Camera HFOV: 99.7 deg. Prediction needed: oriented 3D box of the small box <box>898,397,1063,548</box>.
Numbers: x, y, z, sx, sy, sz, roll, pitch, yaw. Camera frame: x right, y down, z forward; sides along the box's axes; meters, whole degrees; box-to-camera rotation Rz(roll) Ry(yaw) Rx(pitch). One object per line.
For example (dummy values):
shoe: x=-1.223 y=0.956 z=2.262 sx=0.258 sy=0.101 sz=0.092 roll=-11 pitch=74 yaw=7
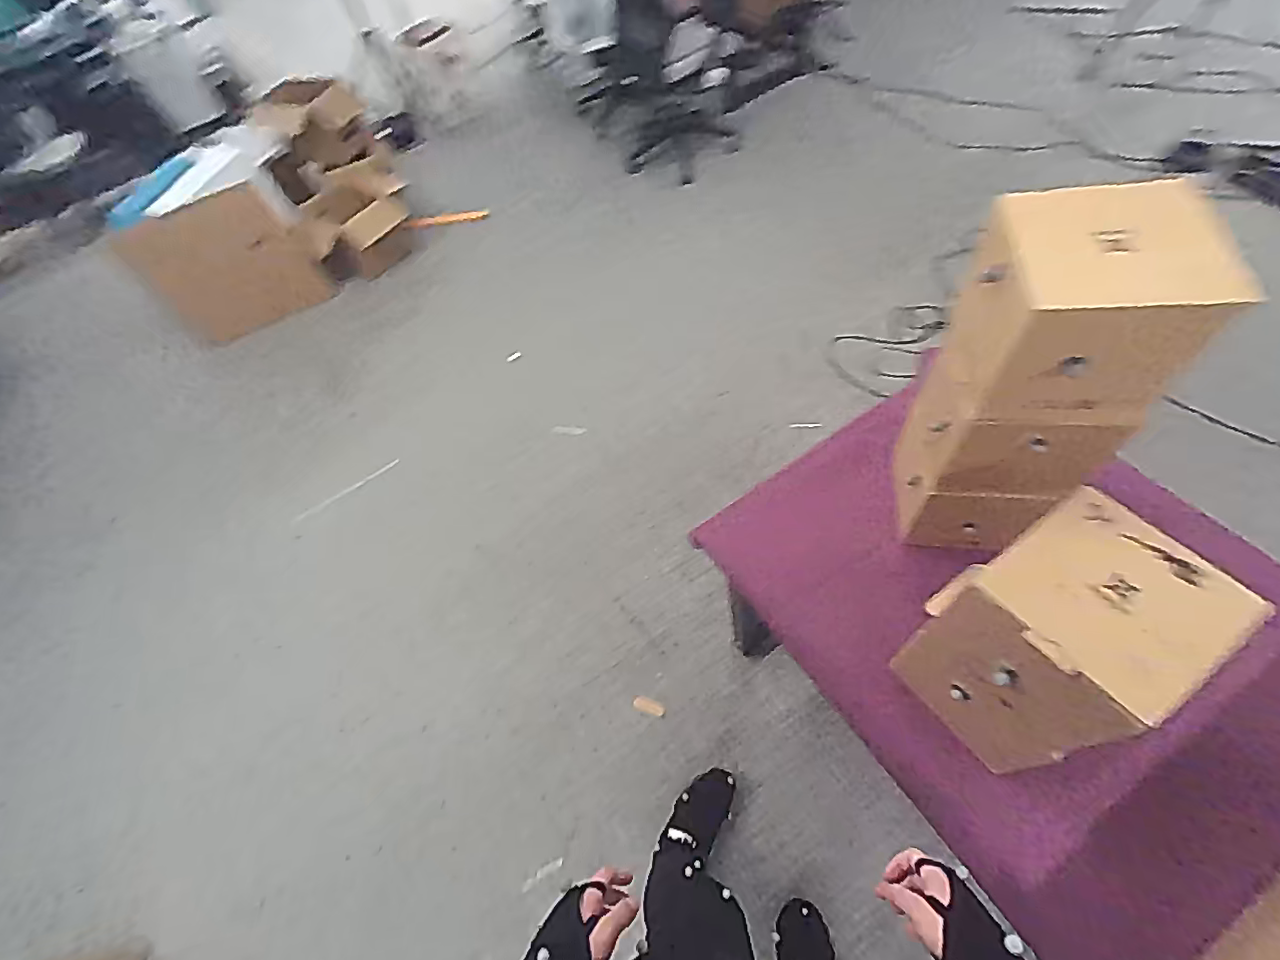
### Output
small box: x=0.512 y=-0.008 z=0.843 sx=0.168 sy=0.176 sz=0.179 roll=4 pitch=60 yaw=13

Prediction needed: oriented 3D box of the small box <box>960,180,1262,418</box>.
small box: x=0.463 y=-0.180 z=0.572 sx=0.168 sy=0.176 sz=0.179 roll=2 pitch=60 yaw=13

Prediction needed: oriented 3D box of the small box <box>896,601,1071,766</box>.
small box: x=0.467 y=0.237 z=0.696 sx=0.168 sy=0.176 sz=0.179 roll=-34 pitch=58 yaw=-11

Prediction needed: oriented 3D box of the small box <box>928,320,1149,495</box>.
small box: x=0.491 y=-0.092 z=0.705 sx=0.179 sy=0.176 sz=0.168 roll=4 pitch=61 yaw=13

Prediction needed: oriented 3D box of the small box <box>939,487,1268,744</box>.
small box: x=0.445 y=0.147 z=0.562 sx=0.179 sy=0.176 sz=0.168 roll=-33 pitch=58 yaw=-11
